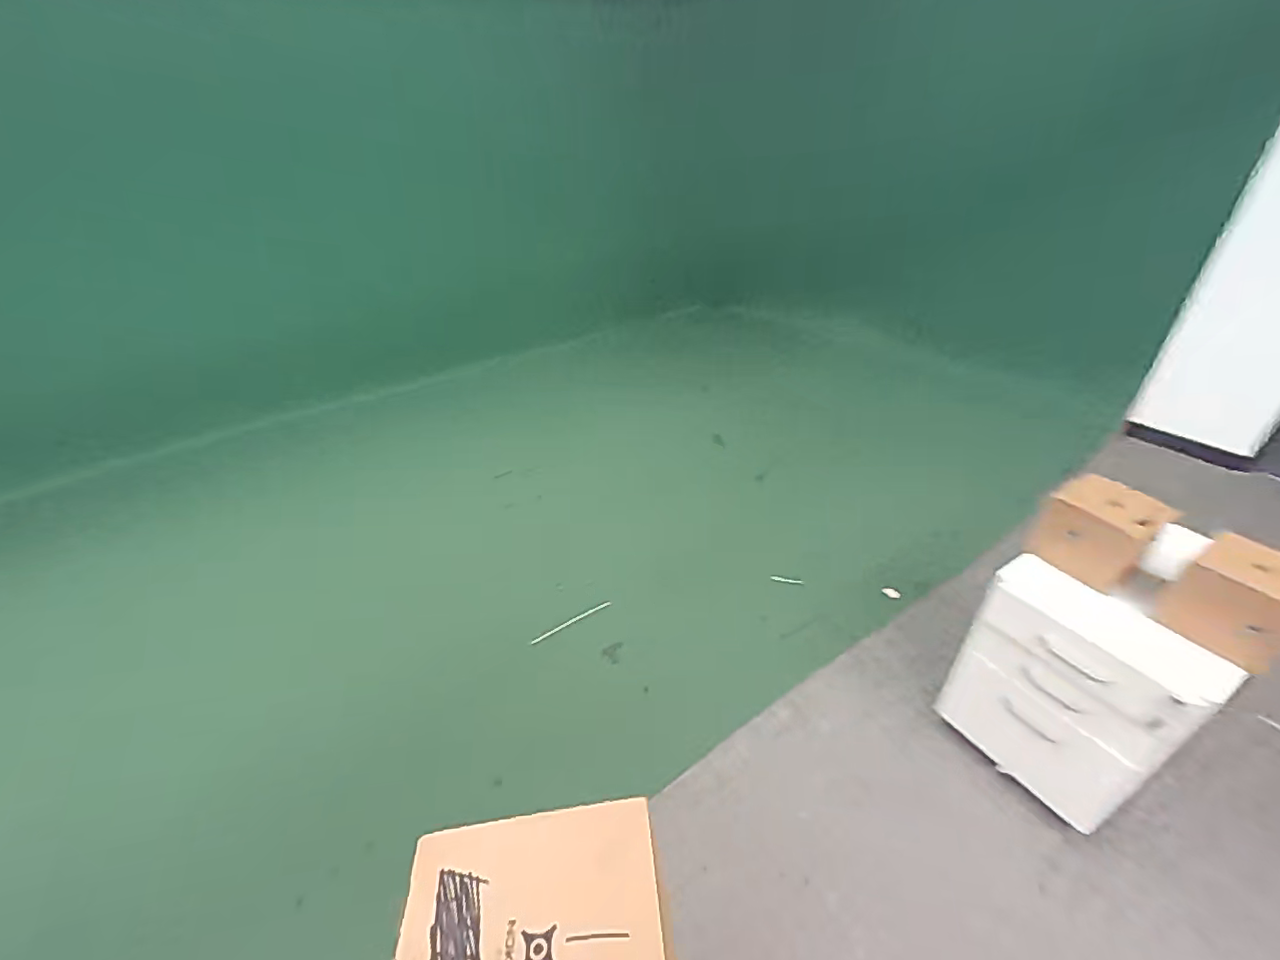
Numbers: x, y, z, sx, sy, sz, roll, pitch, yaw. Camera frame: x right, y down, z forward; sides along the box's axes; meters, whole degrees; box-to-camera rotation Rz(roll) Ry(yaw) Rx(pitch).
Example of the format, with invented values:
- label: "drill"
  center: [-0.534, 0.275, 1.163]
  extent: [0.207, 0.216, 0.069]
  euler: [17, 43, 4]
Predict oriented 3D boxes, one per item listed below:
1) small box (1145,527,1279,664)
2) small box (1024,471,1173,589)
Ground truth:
- label: "small box"
  center: [1.150, 0.228, 1.047]
  extent: [0.168, 0.176, 0.179]
  euler: [-21, 37, -25]
- label: "small box"
  center: [1.018, 0.110, 1.218]
  extent: [0.168, 0.176, 0.179]
  euler: [-22, 40, -23]
